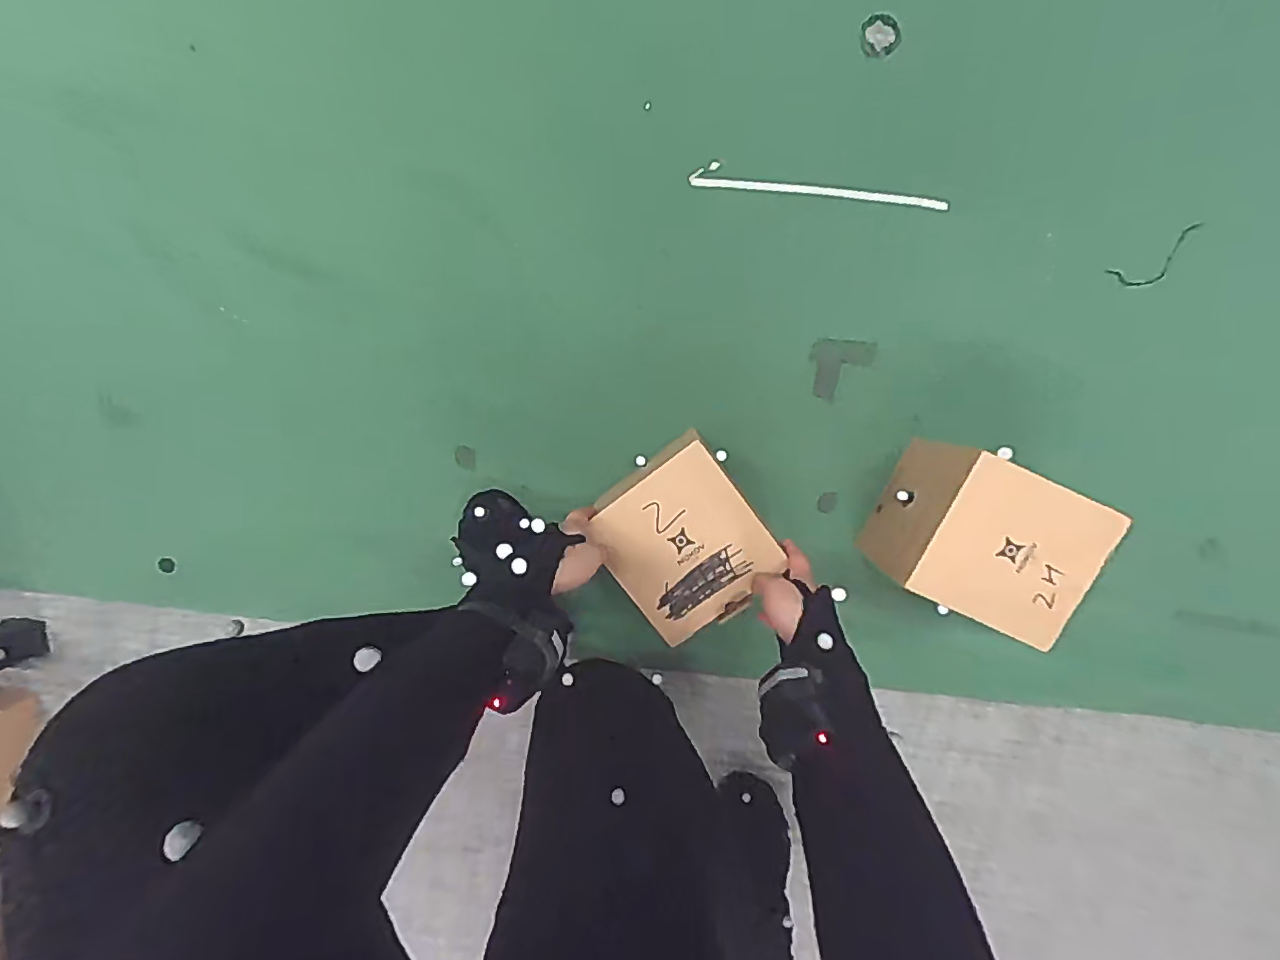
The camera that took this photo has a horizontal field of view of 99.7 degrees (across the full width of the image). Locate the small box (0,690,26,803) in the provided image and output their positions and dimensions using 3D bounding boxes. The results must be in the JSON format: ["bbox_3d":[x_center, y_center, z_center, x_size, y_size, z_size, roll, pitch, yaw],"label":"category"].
[{"bbox_3d":[-1.040,0.410,0.765,0.168,0.176,0.179,11,99,0],"label":"small box"}]

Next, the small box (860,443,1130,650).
[{"bbox_3d":[0.397,0.064,0.644,0.179,0.176,0.168,25,100,-2],"label":"small box"}]
